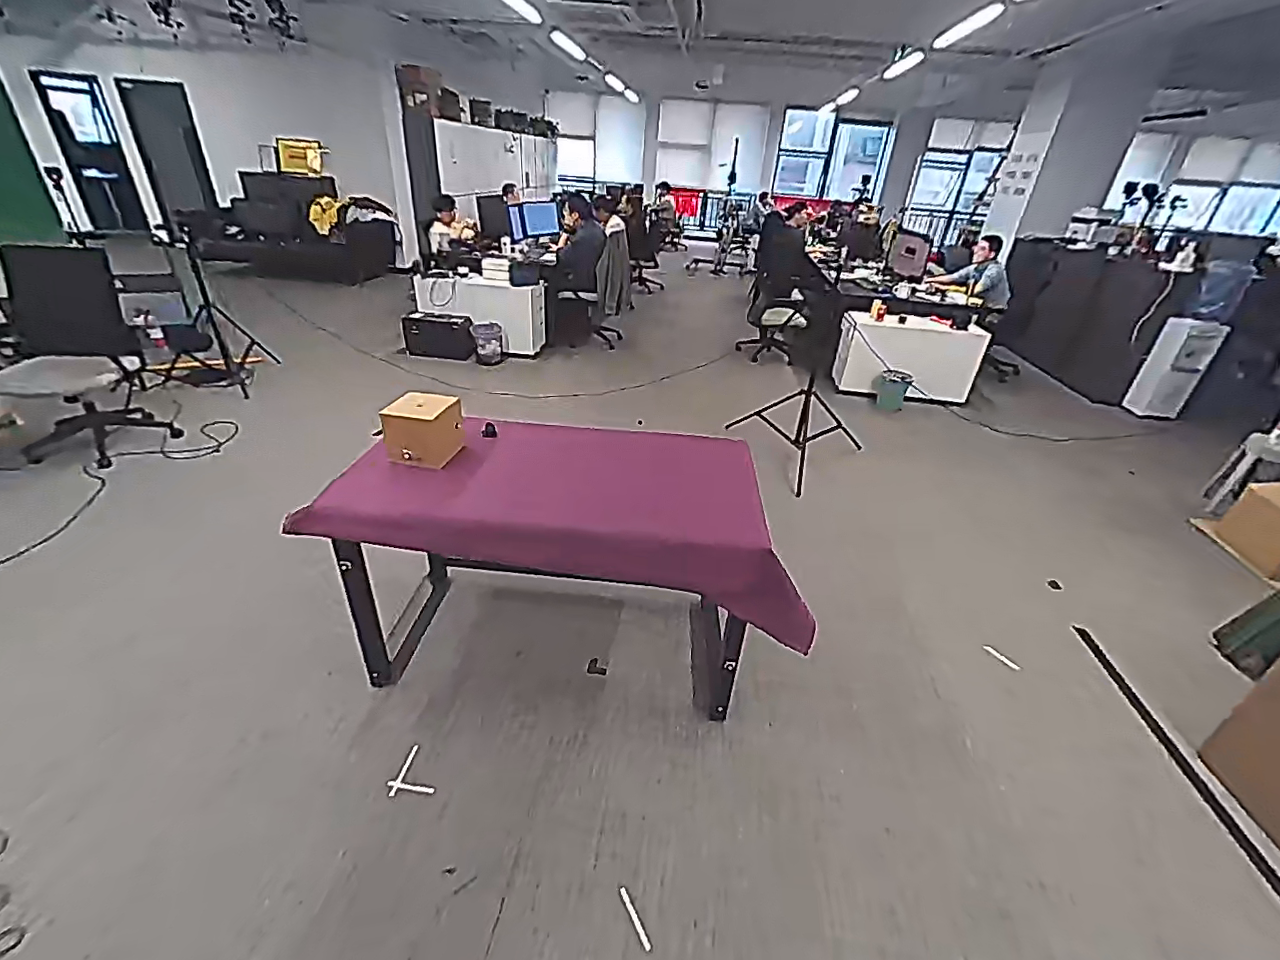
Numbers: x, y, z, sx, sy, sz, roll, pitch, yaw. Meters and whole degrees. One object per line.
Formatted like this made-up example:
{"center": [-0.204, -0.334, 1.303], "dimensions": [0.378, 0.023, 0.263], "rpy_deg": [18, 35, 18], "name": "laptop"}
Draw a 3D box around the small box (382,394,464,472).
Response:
{"center": [-0.652, -0.145, 1.650], "dimensions": [0.168, 0.176, 0.179], "rpy_deg": [7, 31, 7], "name": "small box"}
